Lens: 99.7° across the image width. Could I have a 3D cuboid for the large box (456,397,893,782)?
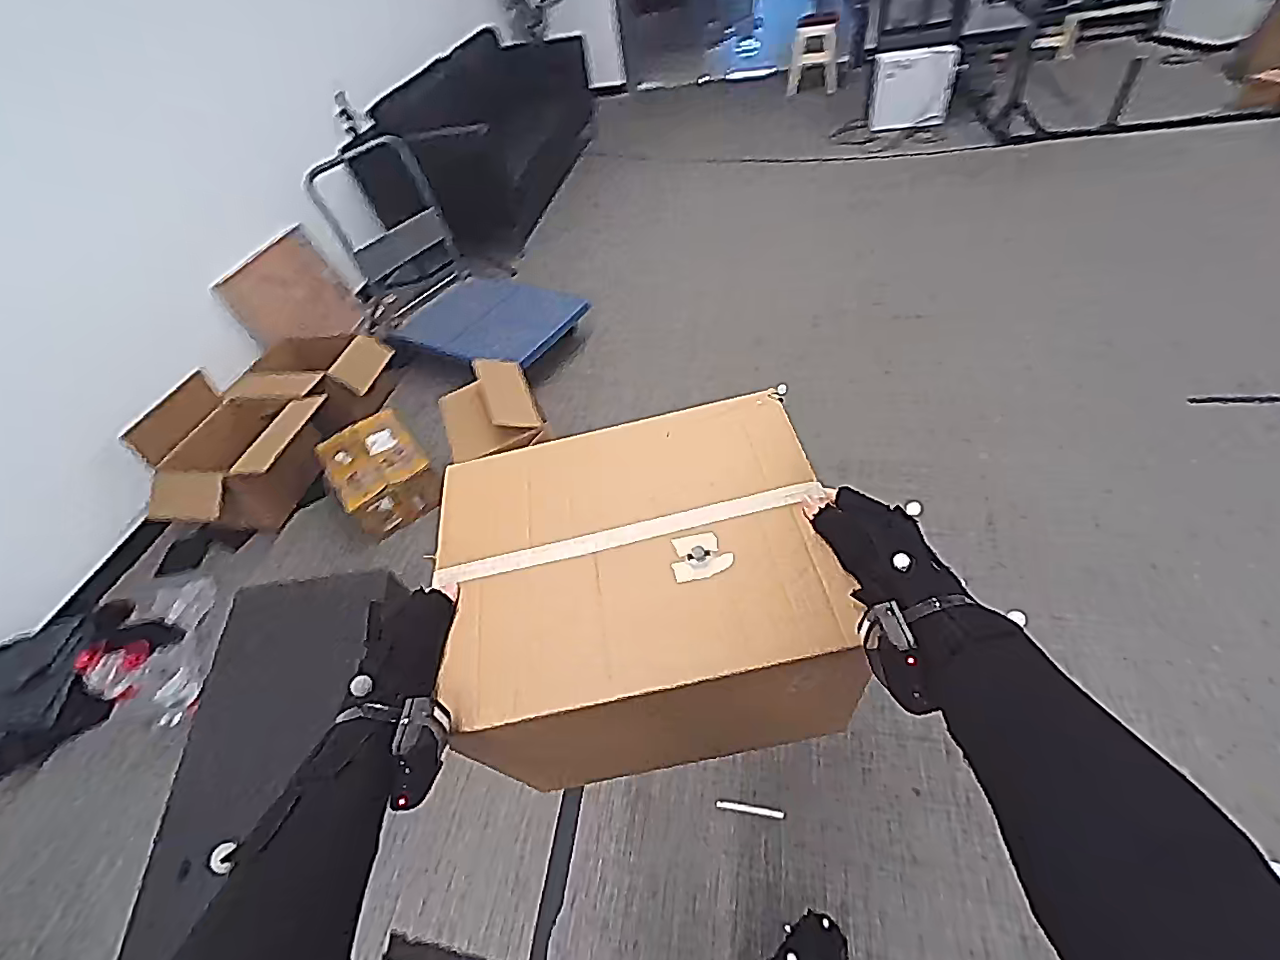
[{"bbox_3d":[0.029,0.148,0.681,0.408,0.320,0.320,-12,52,2],"label":"large box"}]
